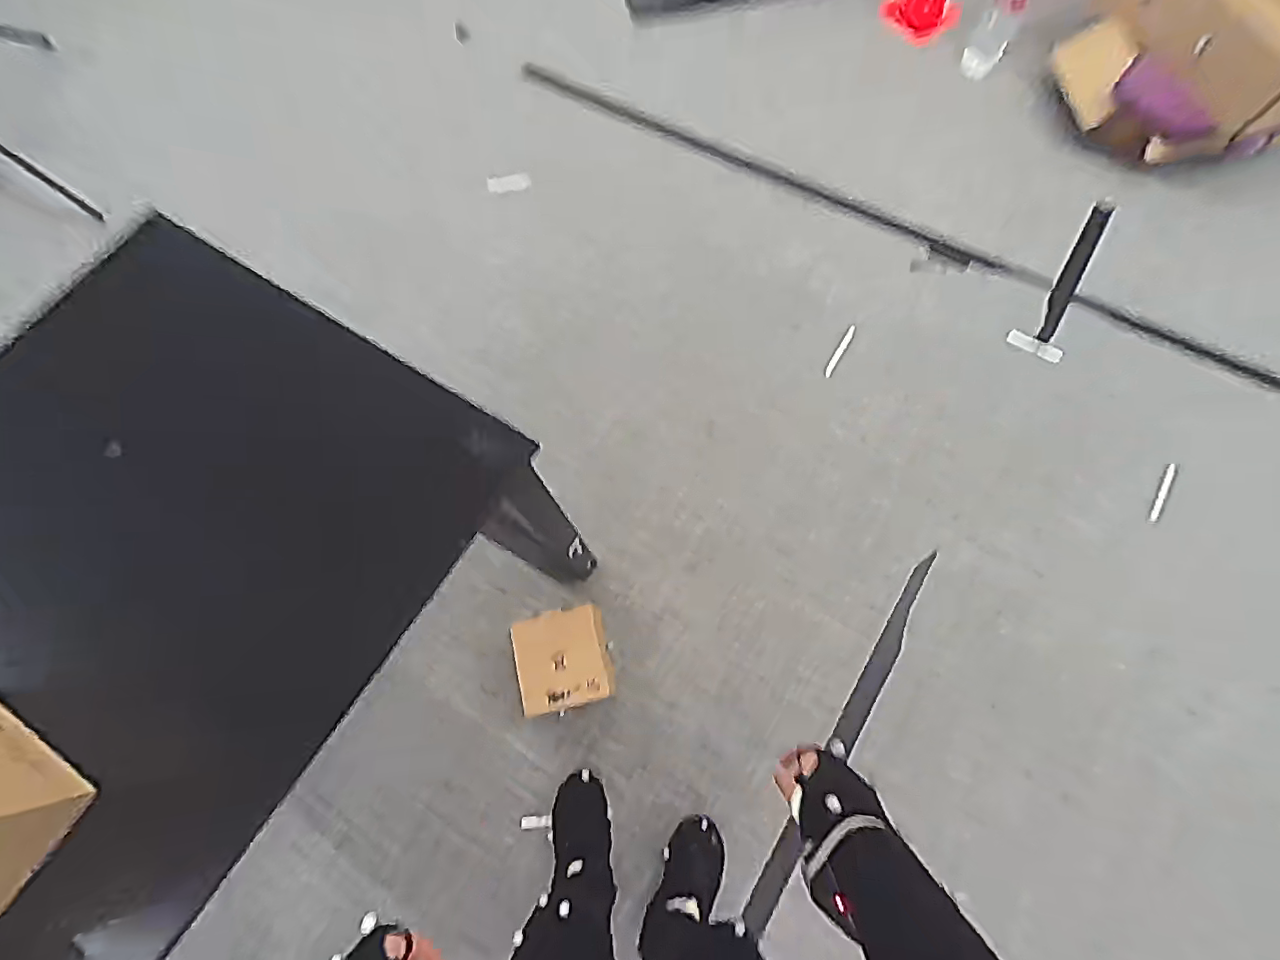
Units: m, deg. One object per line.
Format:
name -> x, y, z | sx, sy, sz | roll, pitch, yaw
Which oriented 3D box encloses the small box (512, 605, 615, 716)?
small box -> -0.152, 0.371, 1.114 | 0.168, 0.176, 0.179 | -14, 72, -2
